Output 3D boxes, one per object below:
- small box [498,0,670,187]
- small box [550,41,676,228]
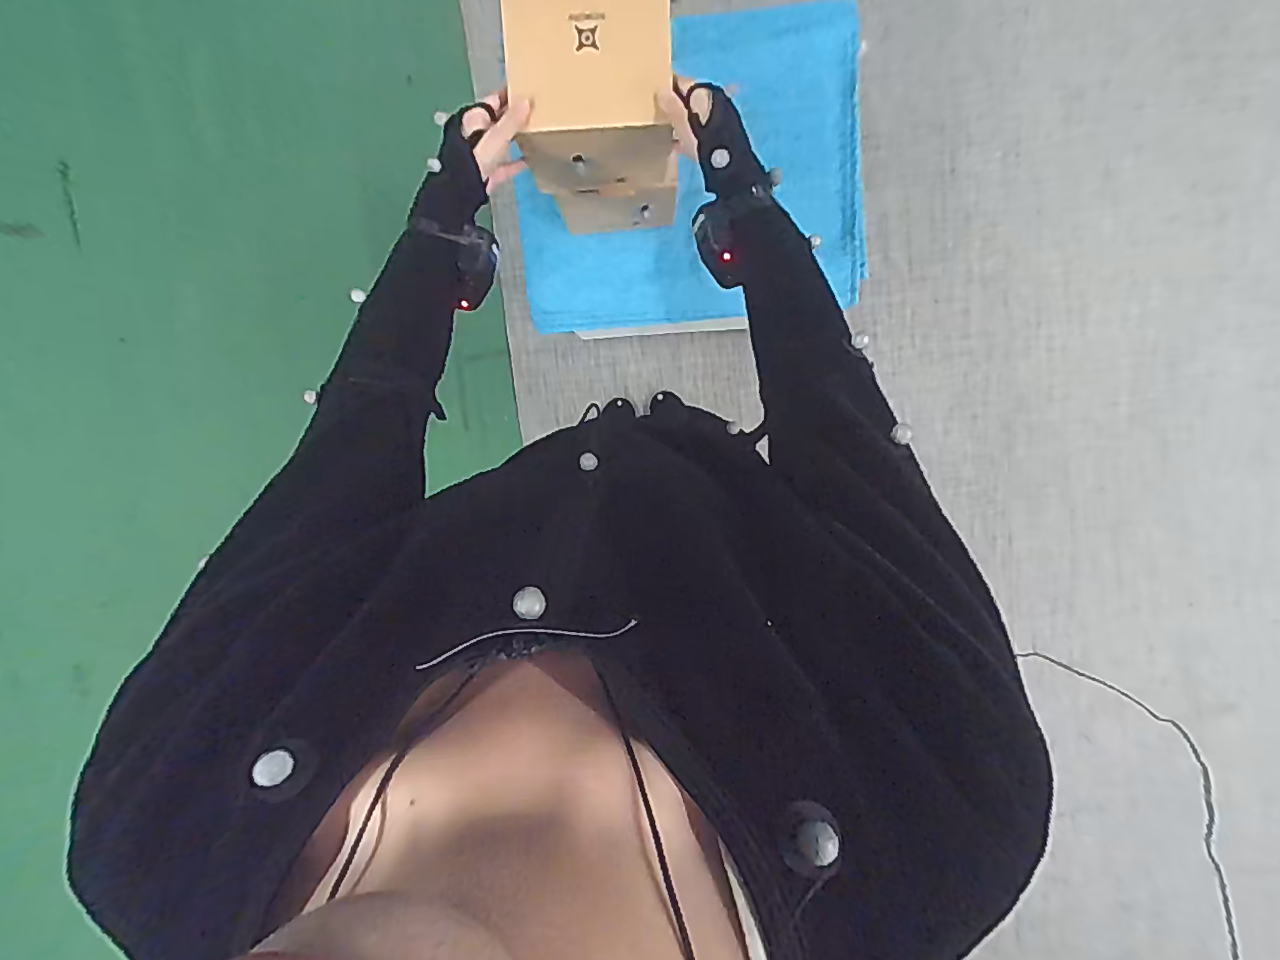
[{"bbox_3d":[-0.052,-0.443,0.598,0.168,0.176,0.179,-3,97,0],"label":"small box"},{"bbox_3d":[-0.038,-0.467,0.757,0.168,0.176,0.179,-4,98,1],"label":"small box"}]
